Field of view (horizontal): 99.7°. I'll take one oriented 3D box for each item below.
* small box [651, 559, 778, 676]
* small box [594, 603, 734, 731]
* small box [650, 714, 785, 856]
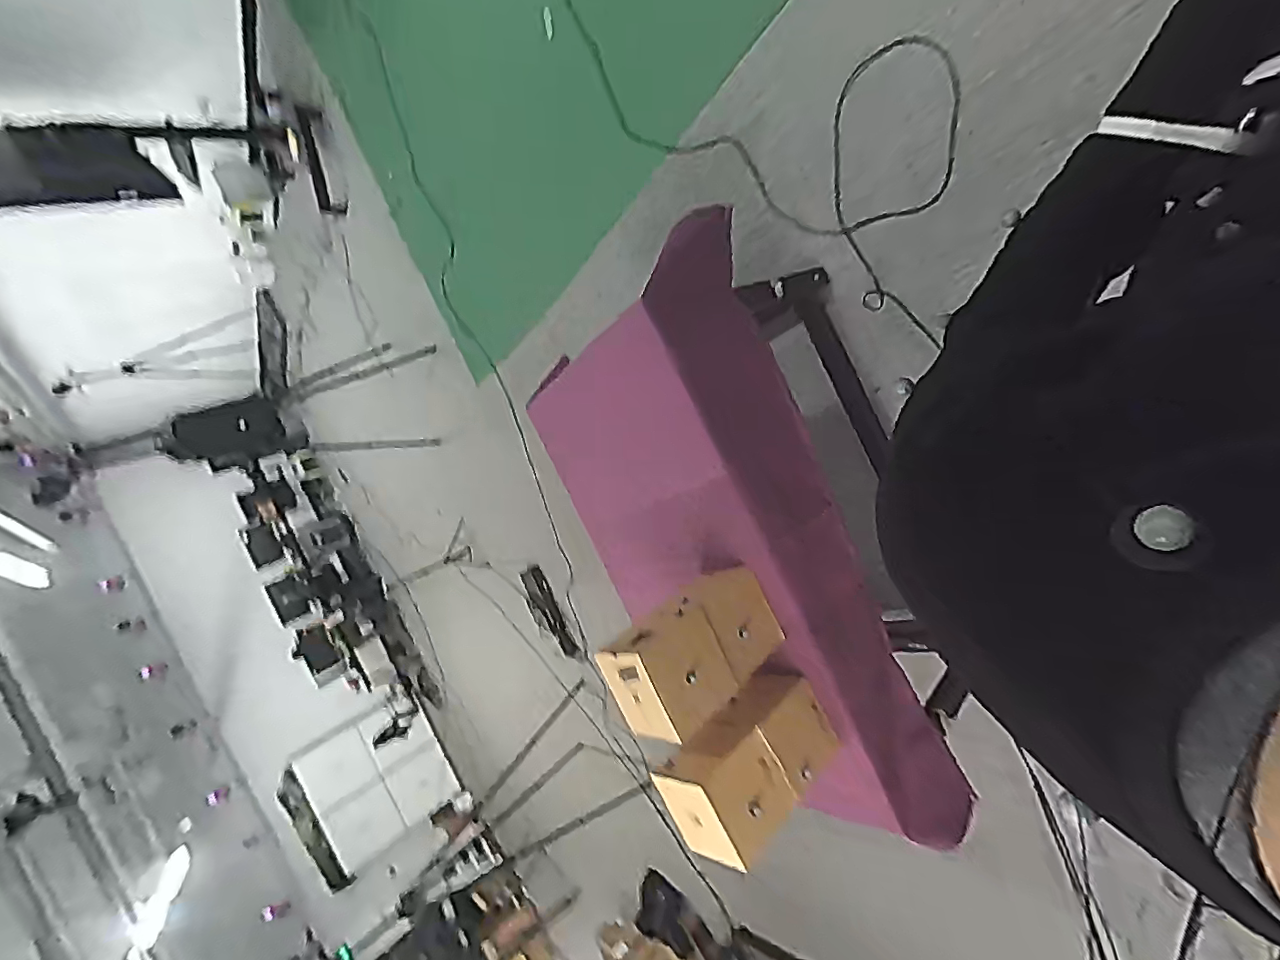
[{"bbox_3d":[0.163,0.292,1.153,0.168,0.176,0.179,-26,91,53],"label":"small box"},{"bbox_3d":[0.047,0.351,1.051,0.168,0.176,0.179,-24,93,54],"label":"small box"},{"bbox_3d":[0.158,0.586,1.065,0.179,0.176,0.168,-32,86,55],"label":"small box"}]
